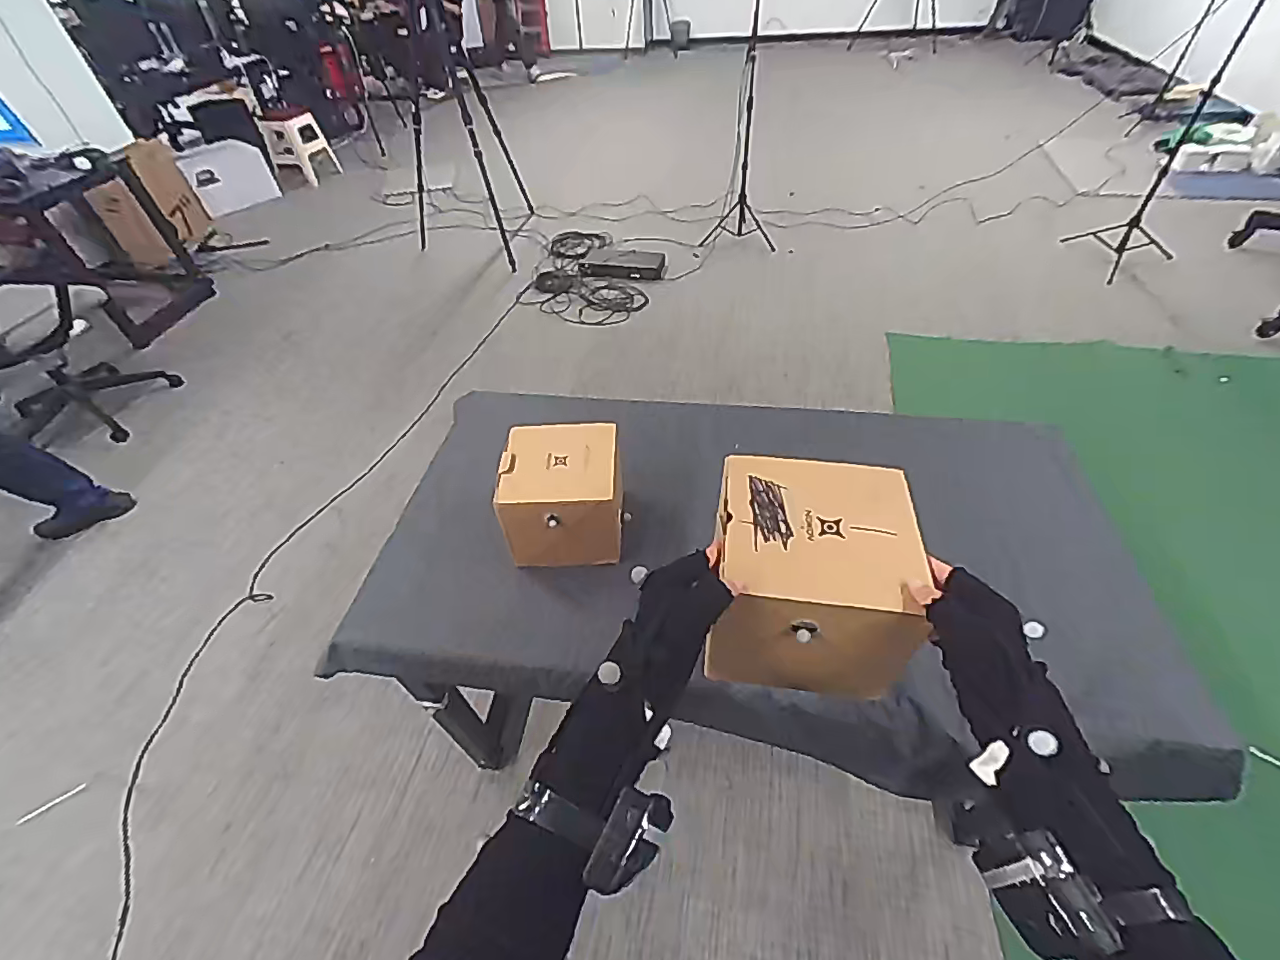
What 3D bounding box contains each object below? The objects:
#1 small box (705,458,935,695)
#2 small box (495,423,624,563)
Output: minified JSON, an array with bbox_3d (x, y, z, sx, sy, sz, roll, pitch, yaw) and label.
[{"bbox_3d":[0.162,0.100,0.549,0.179,0.176,0.168,6,47,6],"label":"small box"},{"bbox_3d":[-0.120,0.025,0.889,0.179,0.176,0.168,-1,49,1],"label":"small box"}]
